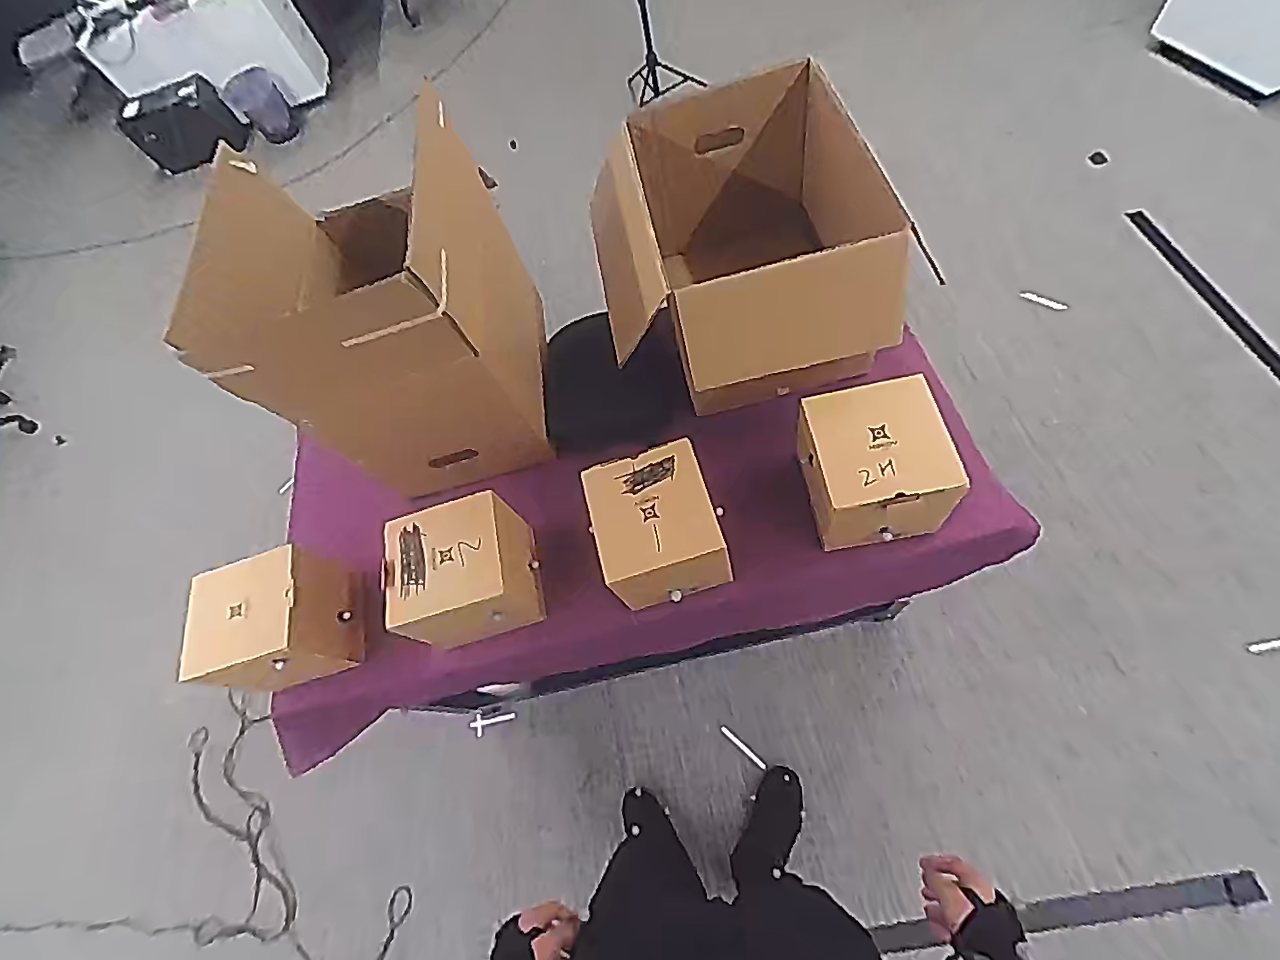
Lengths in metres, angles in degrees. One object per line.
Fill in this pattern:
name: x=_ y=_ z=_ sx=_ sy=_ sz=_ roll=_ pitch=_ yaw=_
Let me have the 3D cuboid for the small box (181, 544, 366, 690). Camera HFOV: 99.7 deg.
small box: x=-0.576 y=0.228 z=0.873 sx=0.179 sy=0.176 sz=0.168 roll=-18 pitch=62 yaw=3

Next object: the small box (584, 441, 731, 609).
small box: x=0.030 y=0.074 z=0.805 sx=0.168 sy=0.176 sz=0.179 roll=-18 pitch=63 yaw=5
